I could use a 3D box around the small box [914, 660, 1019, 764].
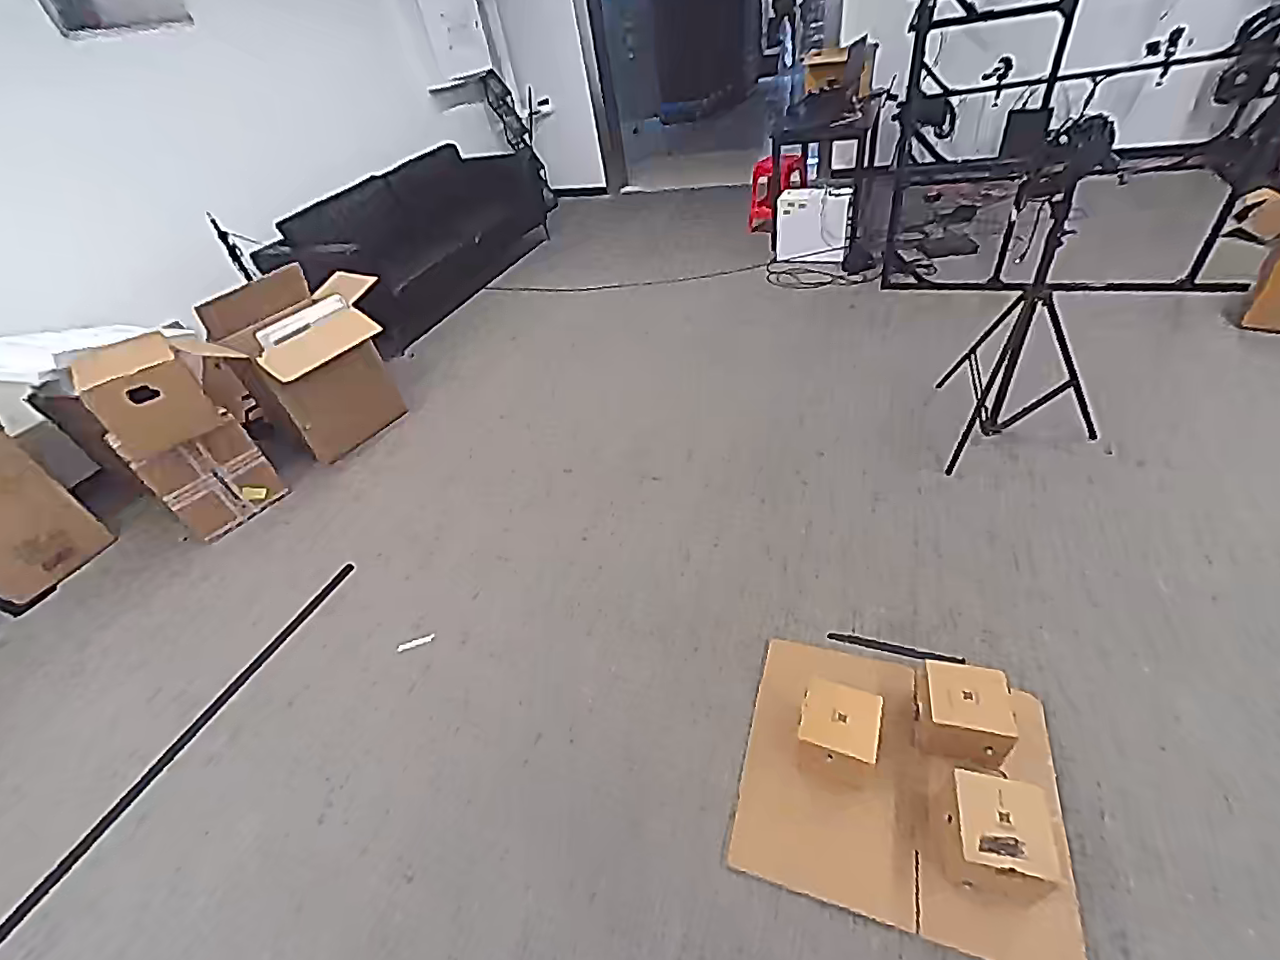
[{"bbox_3d":[0.785,0.568,1.320,0.179,0.176,0.168,3,42,17],"label":"small box"}]

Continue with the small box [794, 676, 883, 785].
[{"bbox_3d":[0.485,0.619,1.329,0.179,0.176,0.168,9,45,24],"label":"small box"}]

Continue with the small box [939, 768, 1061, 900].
[{"bbox_3d":[0.739,0.742,1.131,0.168,0.176,0.179,5,43,18],"label":"small box"}]
